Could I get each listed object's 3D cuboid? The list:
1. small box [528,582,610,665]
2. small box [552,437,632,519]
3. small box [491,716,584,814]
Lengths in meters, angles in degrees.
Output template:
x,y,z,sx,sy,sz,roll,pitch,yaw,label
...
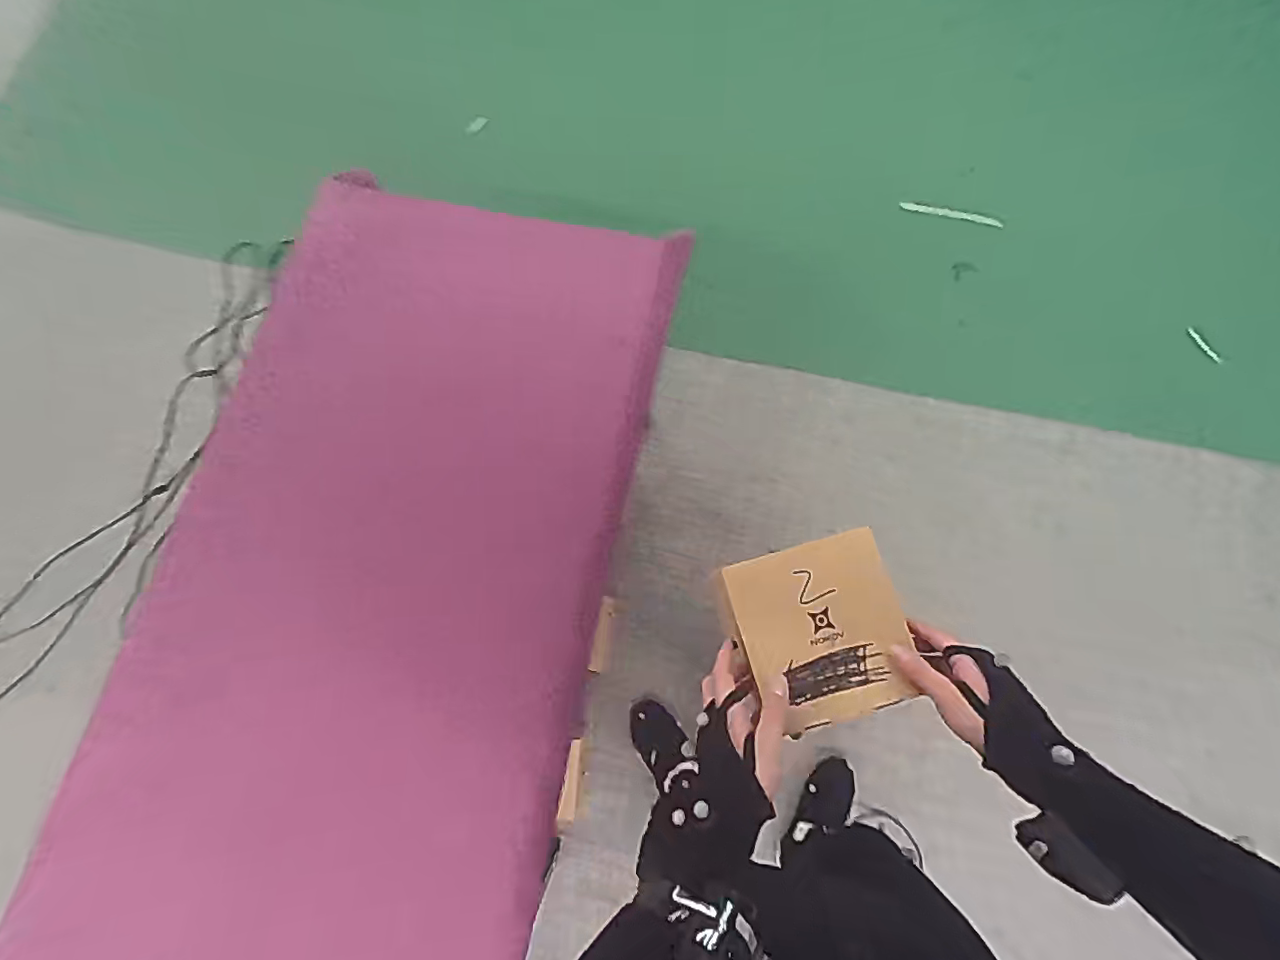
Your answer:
x,y,z,sx,sy,sz,roll,pitch,yaw,label
-0.169,0.355,1.343,0.168,0.176,0.179,5,76,3,small box
-0.120,0.001,1.433,0.179,0.176,0.168,9,75,4,small box
-0.229,0.657,1.263,0.179,0.176,0.168,3,75,2,small box
